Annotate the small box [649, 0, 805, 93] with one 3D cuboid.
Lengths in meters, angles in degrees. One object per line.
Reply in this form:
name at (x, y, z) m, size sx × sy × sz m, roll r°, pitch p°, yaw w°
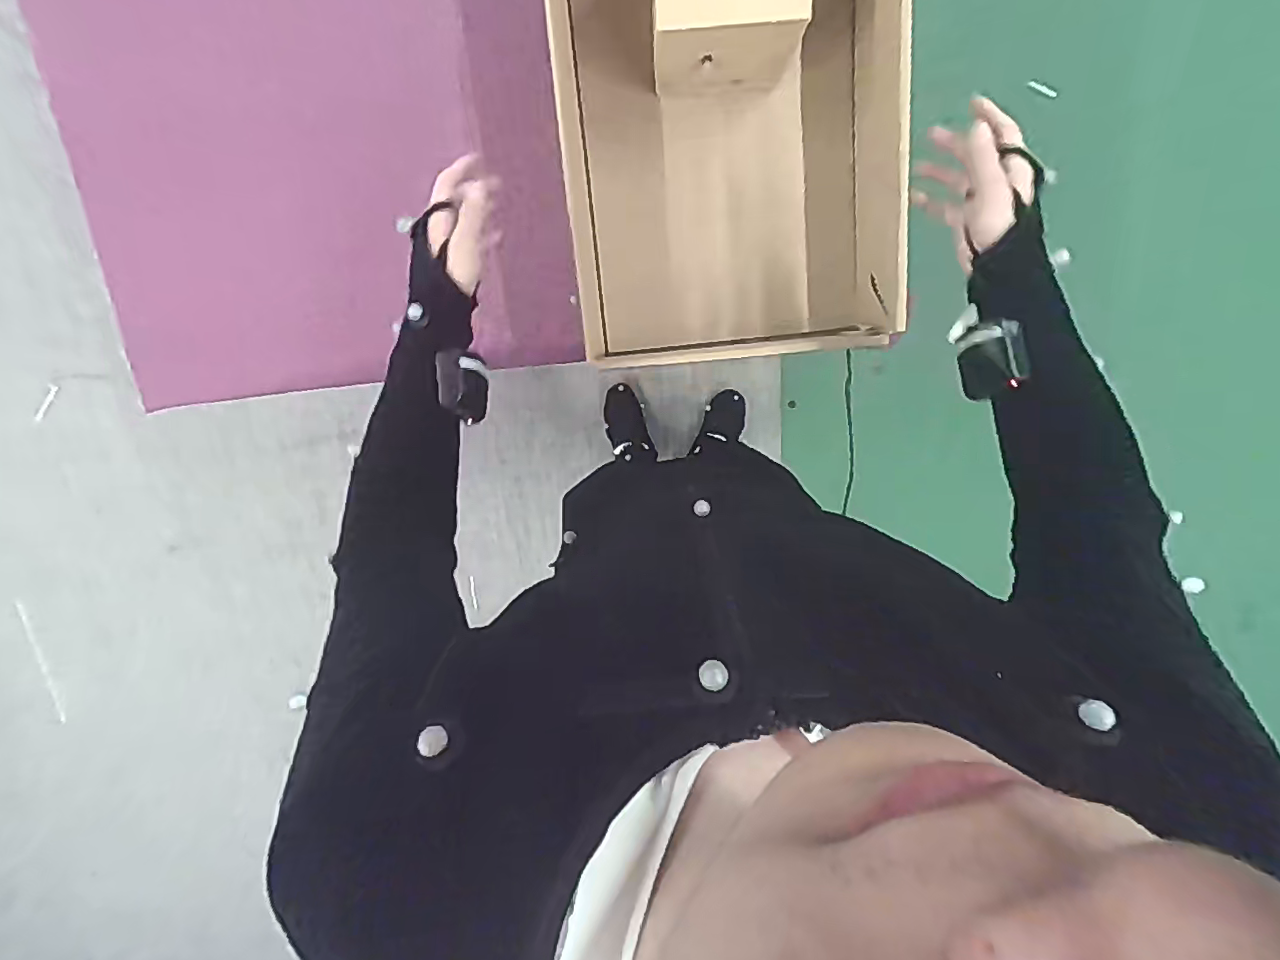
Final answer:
small box at (0.095, -0.583, 0.631) m, size 0.168 × 0.176 × 0.179 m, roll -2°, pitch 103°, yaw 4°
